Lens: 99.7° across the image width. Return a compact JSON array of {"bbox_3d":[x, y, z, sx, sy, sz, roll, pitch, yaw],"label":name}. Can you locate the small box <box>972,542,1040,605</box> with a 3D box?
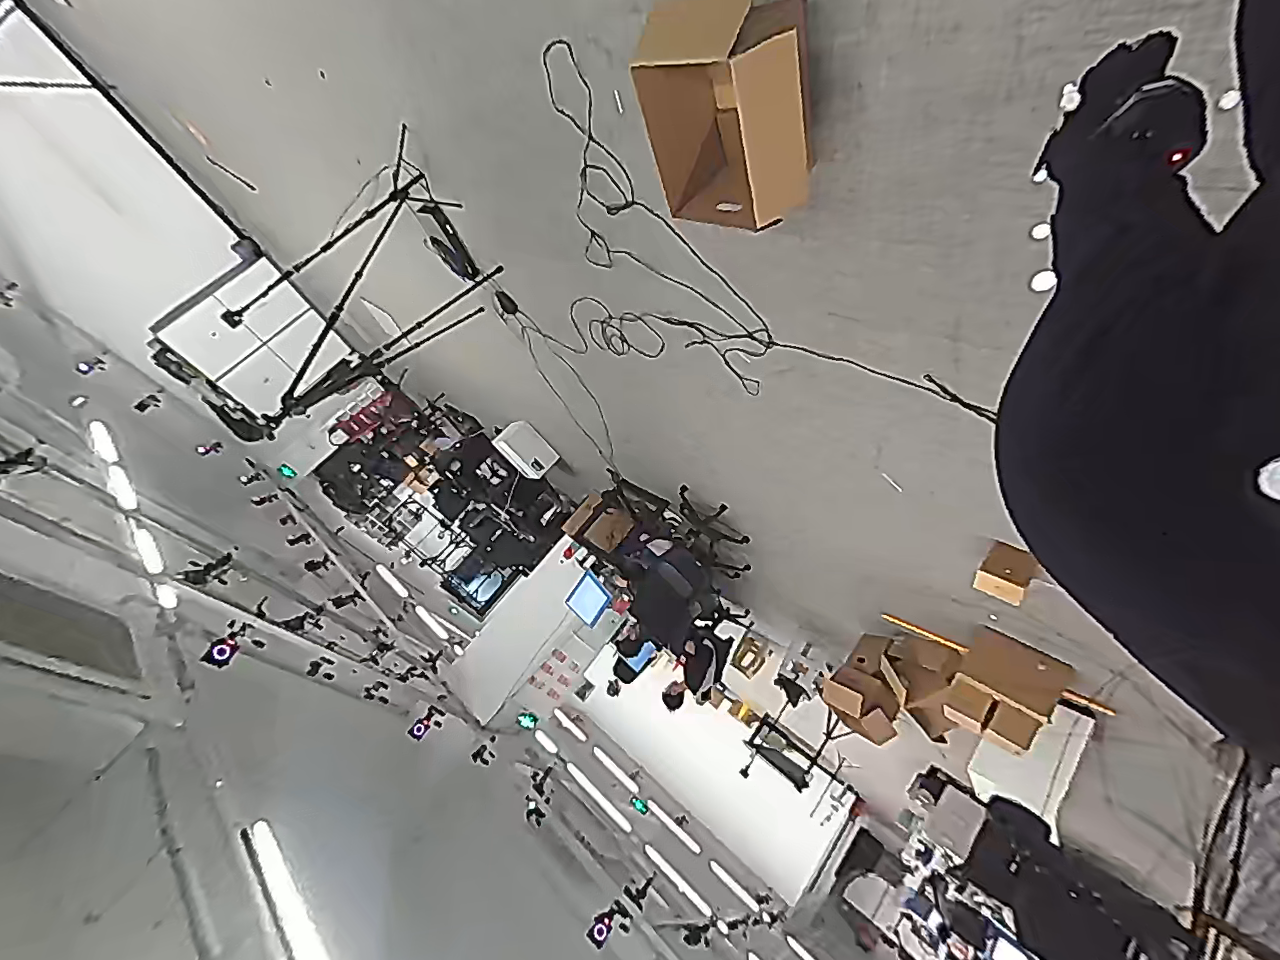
[{"bbox_3d":[1.530,0.385,2.263,0.179,0.176,0.168,25,156,37],"label":"small box"}]
